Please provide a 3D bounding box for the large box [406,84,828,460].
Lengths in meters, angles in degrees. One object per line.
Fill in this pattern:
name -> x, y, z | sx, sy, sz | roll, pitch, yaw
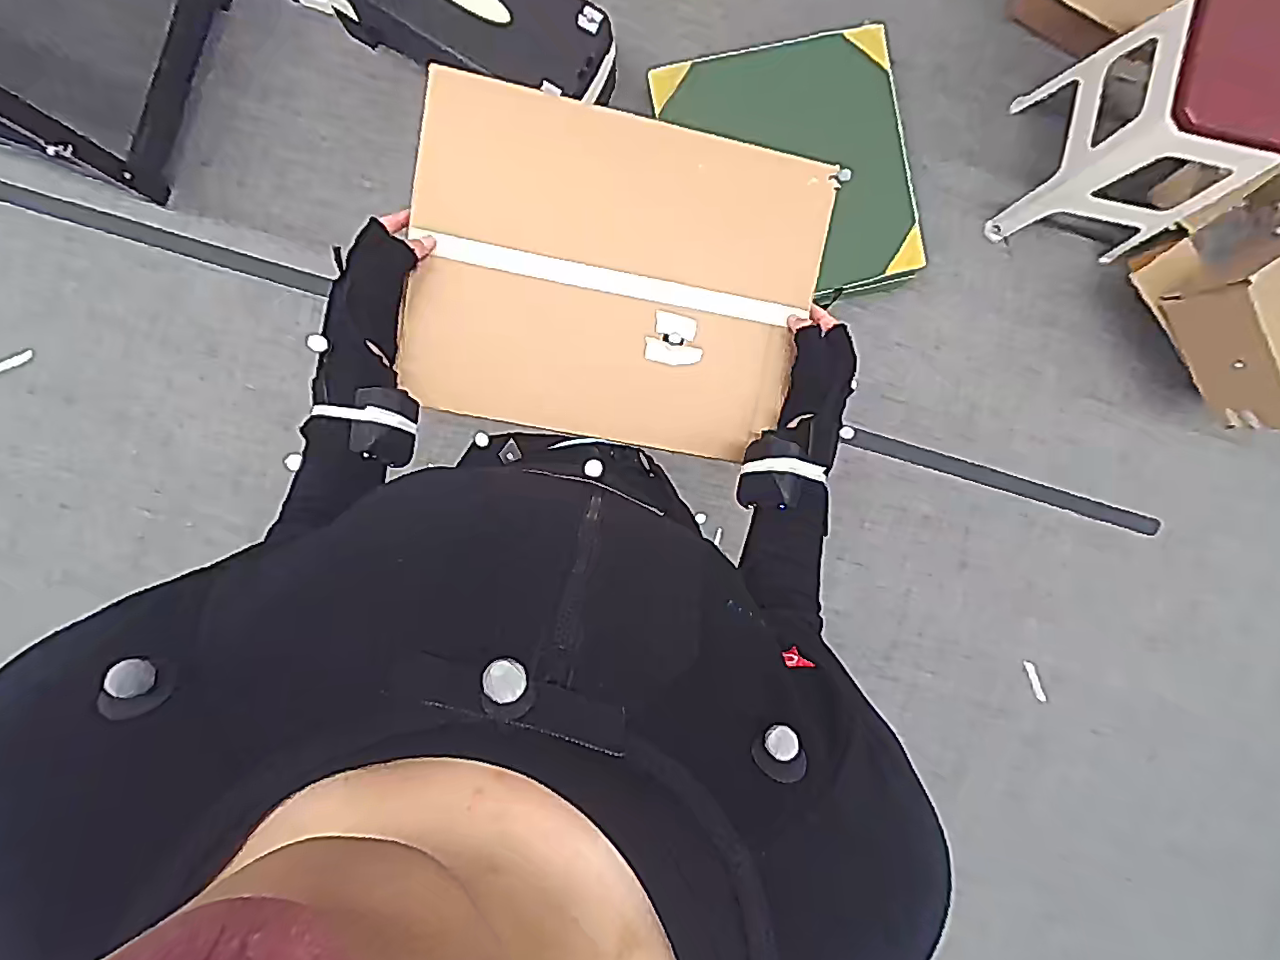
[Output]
large box -> -0.039, -0.221, 0.704 | 0.408, 0.320, 0.320 | 10, 98, -8
